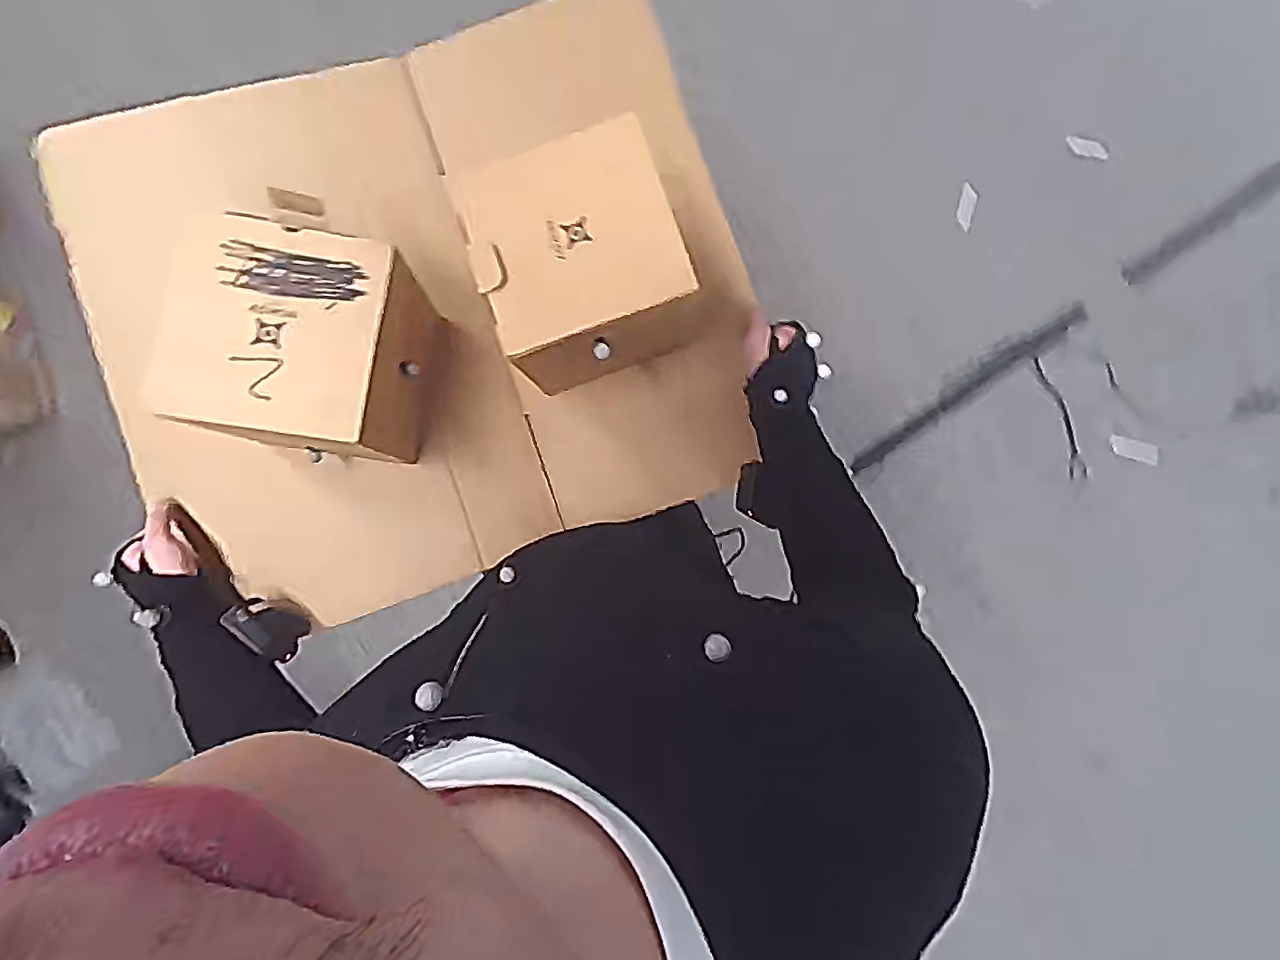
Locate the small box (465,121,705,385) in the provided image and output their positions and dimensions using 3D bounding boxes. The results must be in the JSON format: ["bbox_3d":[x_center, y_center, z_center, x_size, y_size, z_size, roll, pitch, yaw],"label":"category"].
[{"bbox_3d":[-0.047,-0.211,0.553,0.179,0.176,0.168,-18,88,2],"label":"small box"}]
